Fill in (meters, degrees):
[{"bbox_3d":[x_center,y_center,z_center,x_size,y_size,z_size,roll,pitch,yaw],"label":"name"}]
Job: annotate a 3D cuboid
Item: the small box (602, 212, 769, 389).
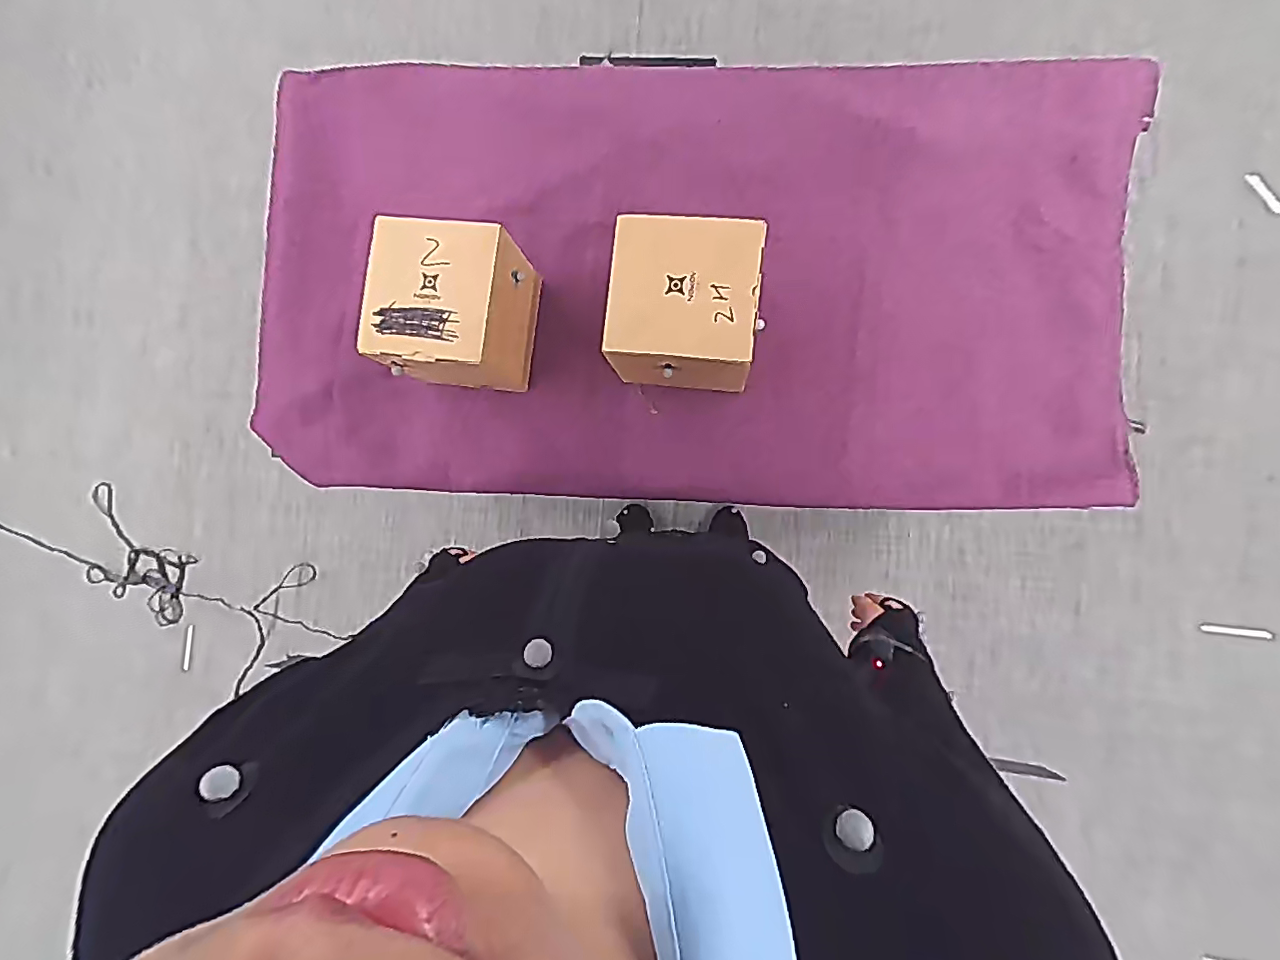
[{"bbox_3d":[0.061,-0.219,0.698,0.179,0.176,0.168,7,89,7],"label":"small box"}]
